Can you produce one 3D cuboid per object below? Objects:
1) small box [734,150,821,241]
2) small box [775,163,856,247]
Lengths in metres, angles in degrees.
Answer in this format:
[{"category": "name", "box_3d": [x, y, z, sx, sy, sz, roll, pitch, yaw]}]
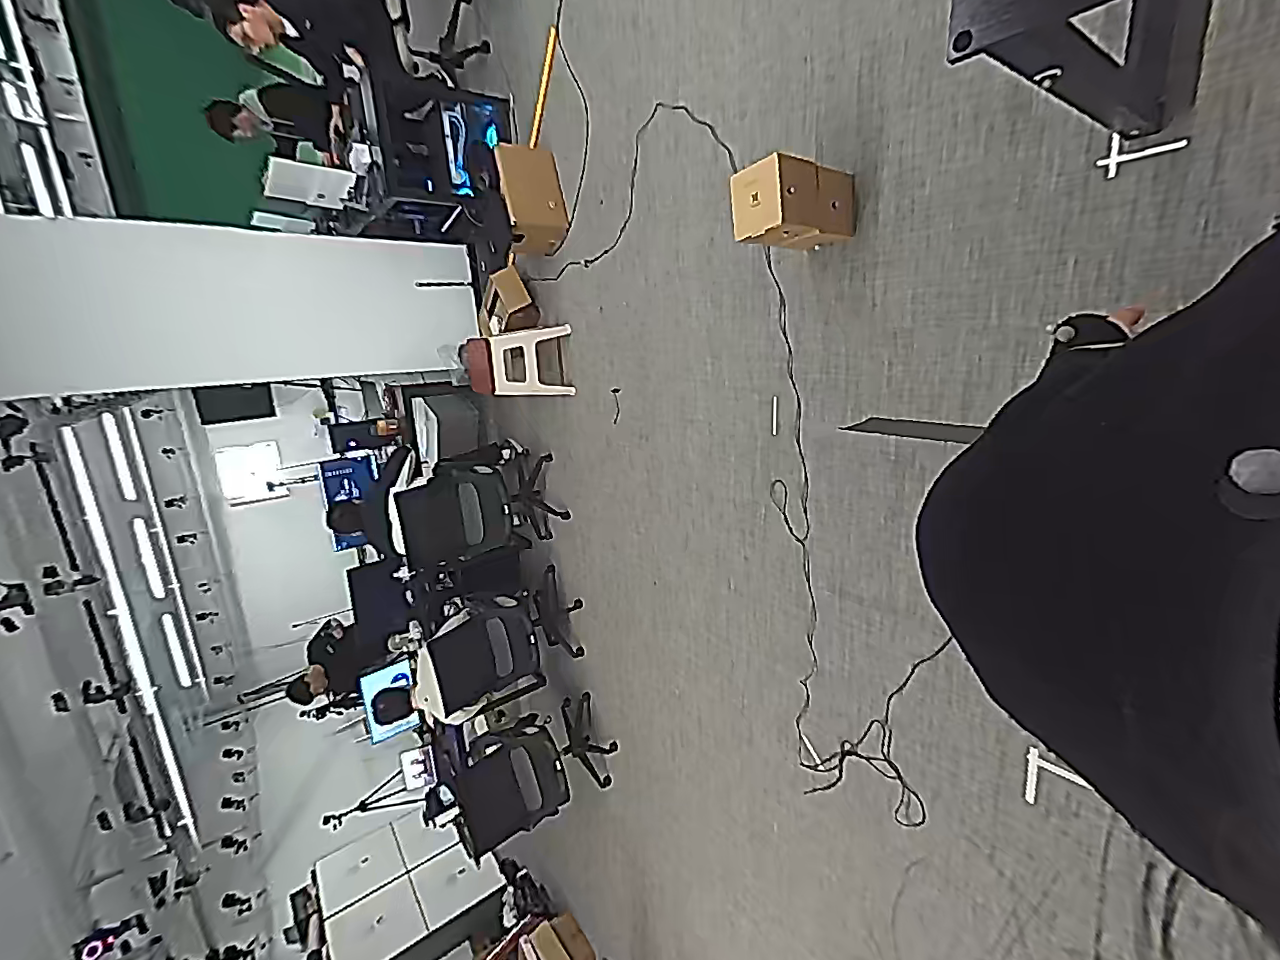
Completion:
[{"category": "small box", "box_3d": [0.379, -0.768, 1.481, 0.168, 0.176, 0.179, 5, 104, 53]}, {"category": "small box", "box_3d": [0.510, -0.791, 1.574, 0.168, 0.176, 0.179, 11, 110, 53]}]
